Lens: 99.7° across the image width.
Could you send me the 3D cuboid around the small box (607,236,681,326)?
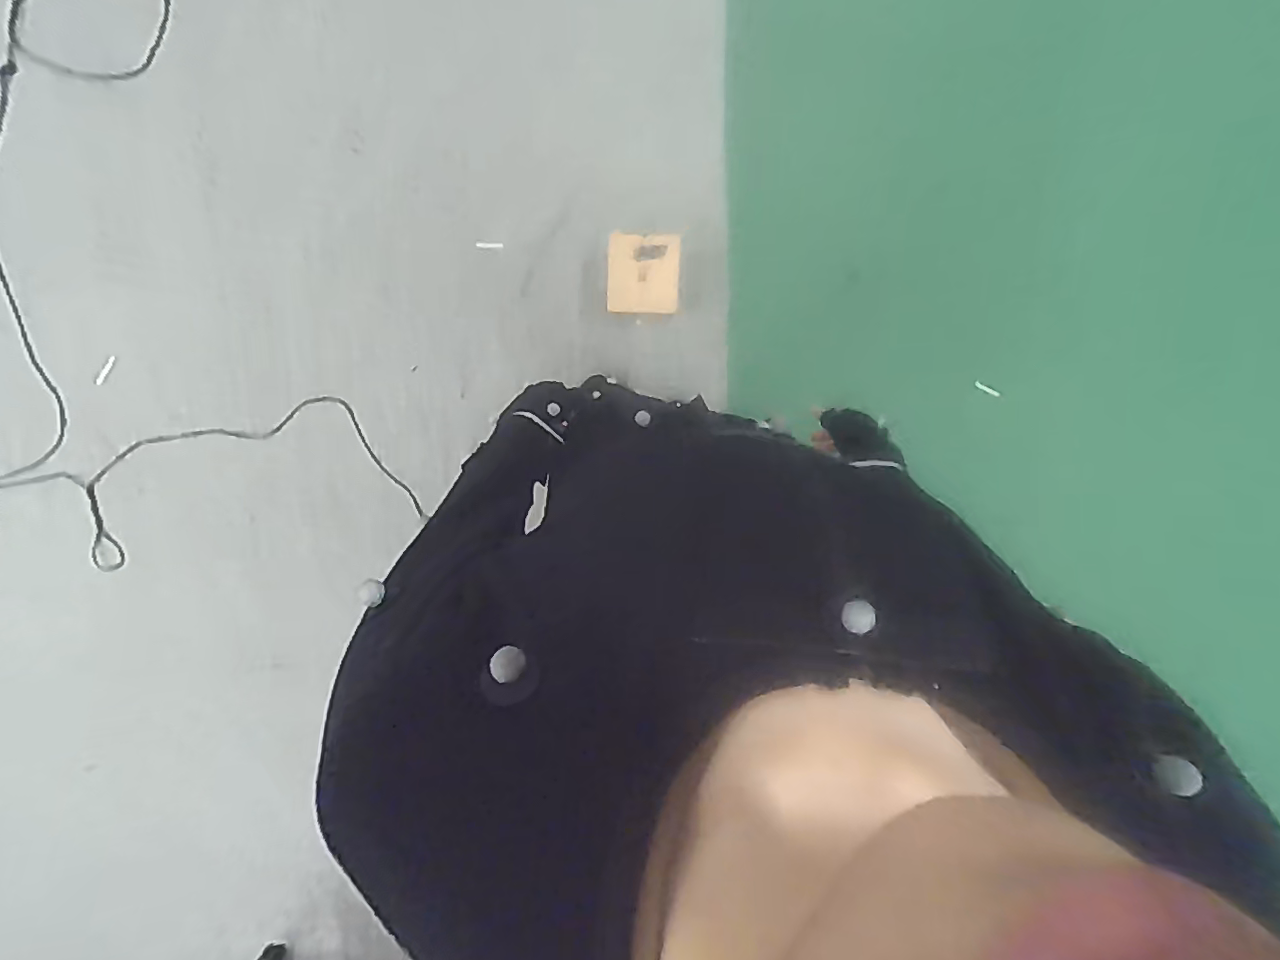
[{"bbox_3d":[0.007,-0.479,1.319,0.168,0.176,0.179,2,100,0],"label":"small box"}]
